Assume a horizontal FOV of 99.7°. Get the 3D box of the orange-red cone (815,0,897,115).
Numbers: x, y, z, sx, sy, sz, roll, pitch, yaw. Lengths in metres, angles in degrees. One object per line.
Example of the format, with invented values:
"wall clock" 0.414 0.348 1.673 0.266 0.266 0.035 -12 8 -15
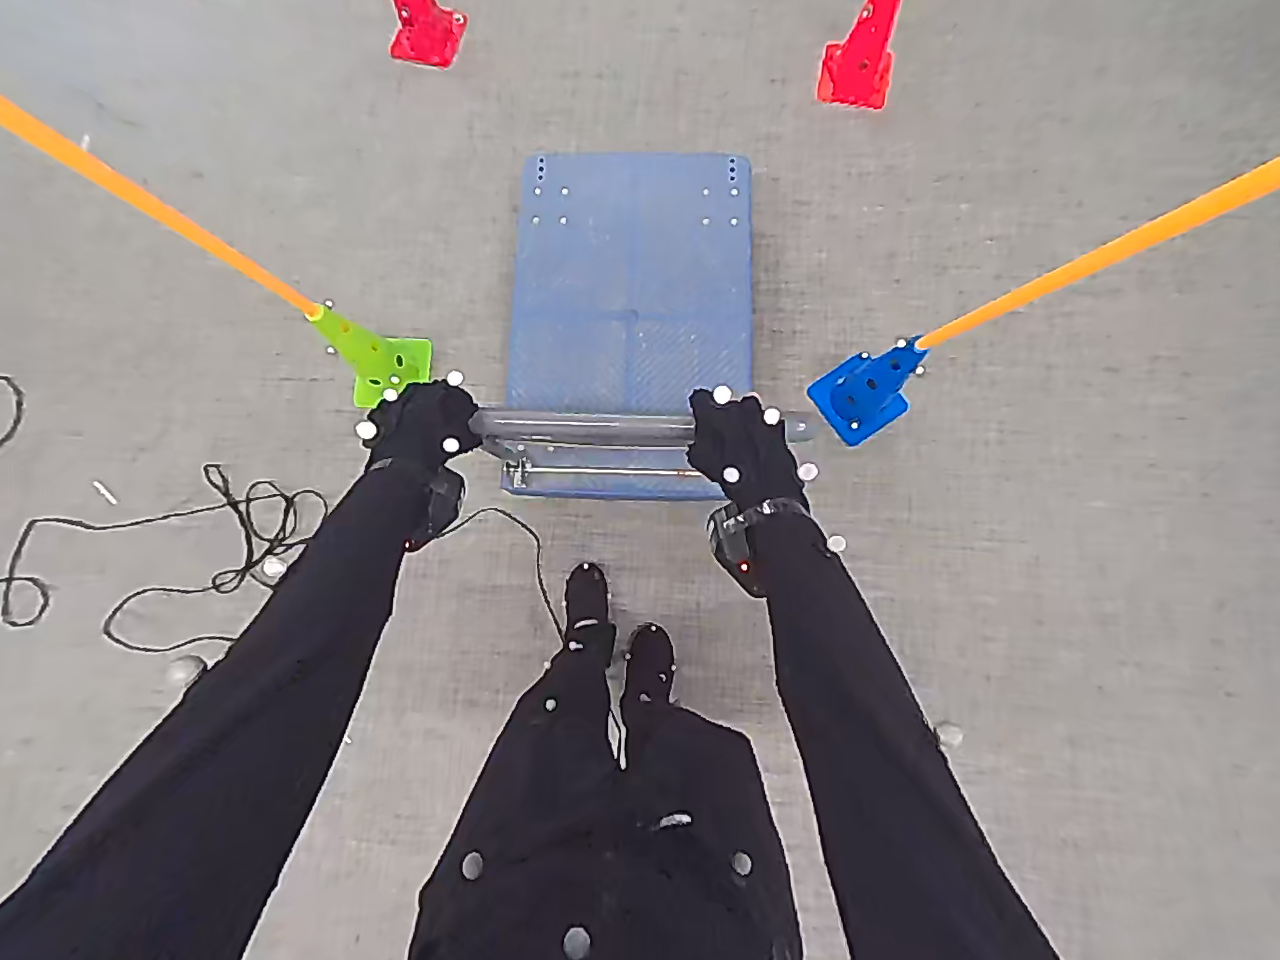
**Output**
"orange-red cone" 0.621 -1.199 1.425 0.198 0.360 0.199 13 81 5
